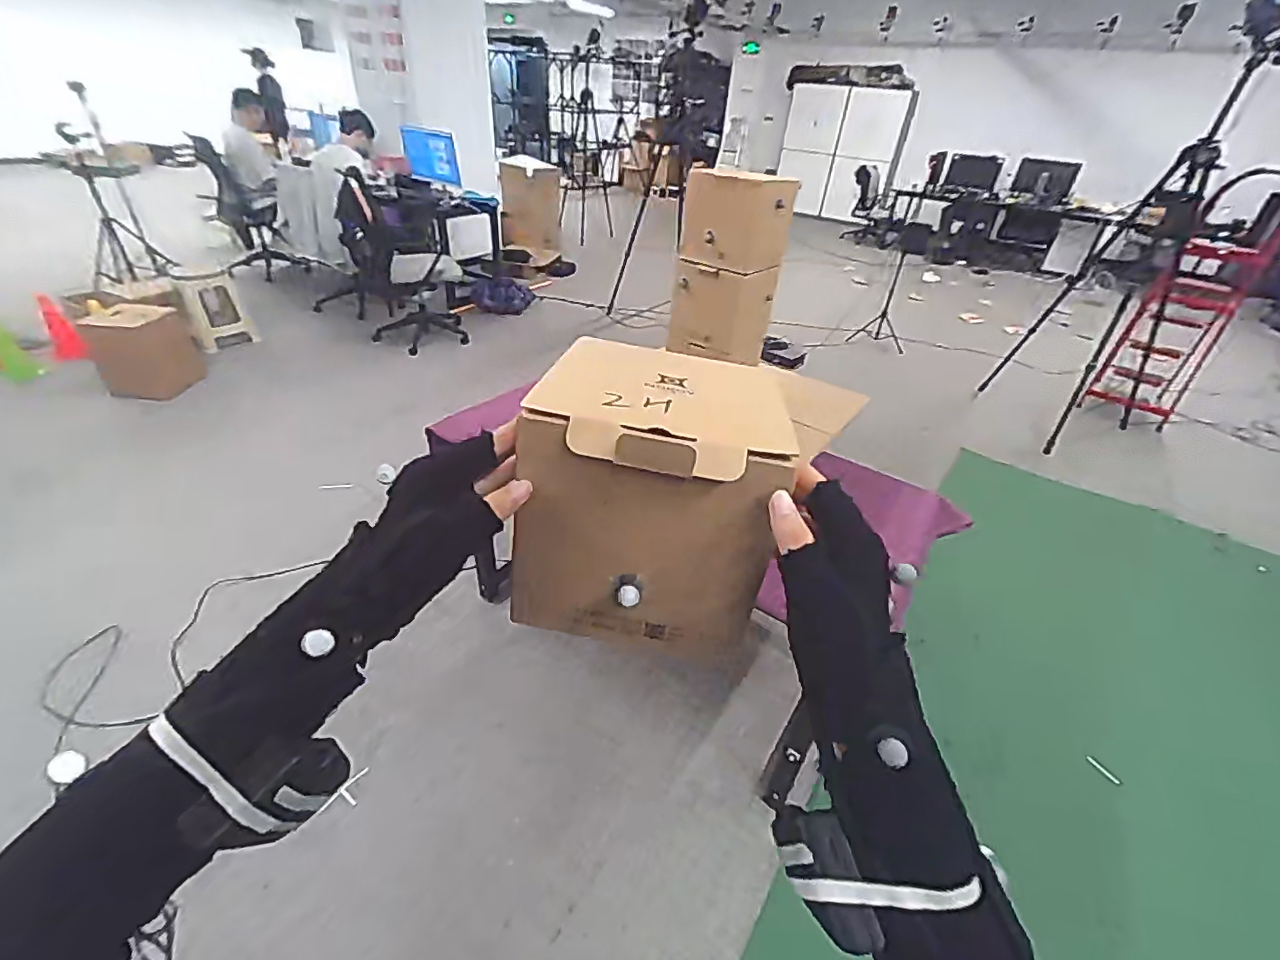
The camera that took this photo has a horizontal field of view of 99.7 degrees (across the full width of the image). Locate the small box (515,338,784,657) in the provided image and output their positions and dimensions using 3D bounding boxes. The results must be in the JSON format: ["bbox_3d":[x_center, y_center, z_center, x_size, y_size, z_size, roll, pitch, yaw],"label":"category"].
[{"bbox_3d":[0.003,0.005,0.427,0.168,0.176,0.179,10,30,2],"label":"small box"}]

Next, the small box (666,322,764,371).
[{"bbox_3d":[0.174,-0.263,1.300,0.168,0.176,0.179,27,39,28],"label":"small box"}]

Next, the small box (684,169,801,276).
[{"bbox_3d":[0.206,-0.534,1.118,0.168,0.176,0.179,26,39,27],"label":"small box"}]
